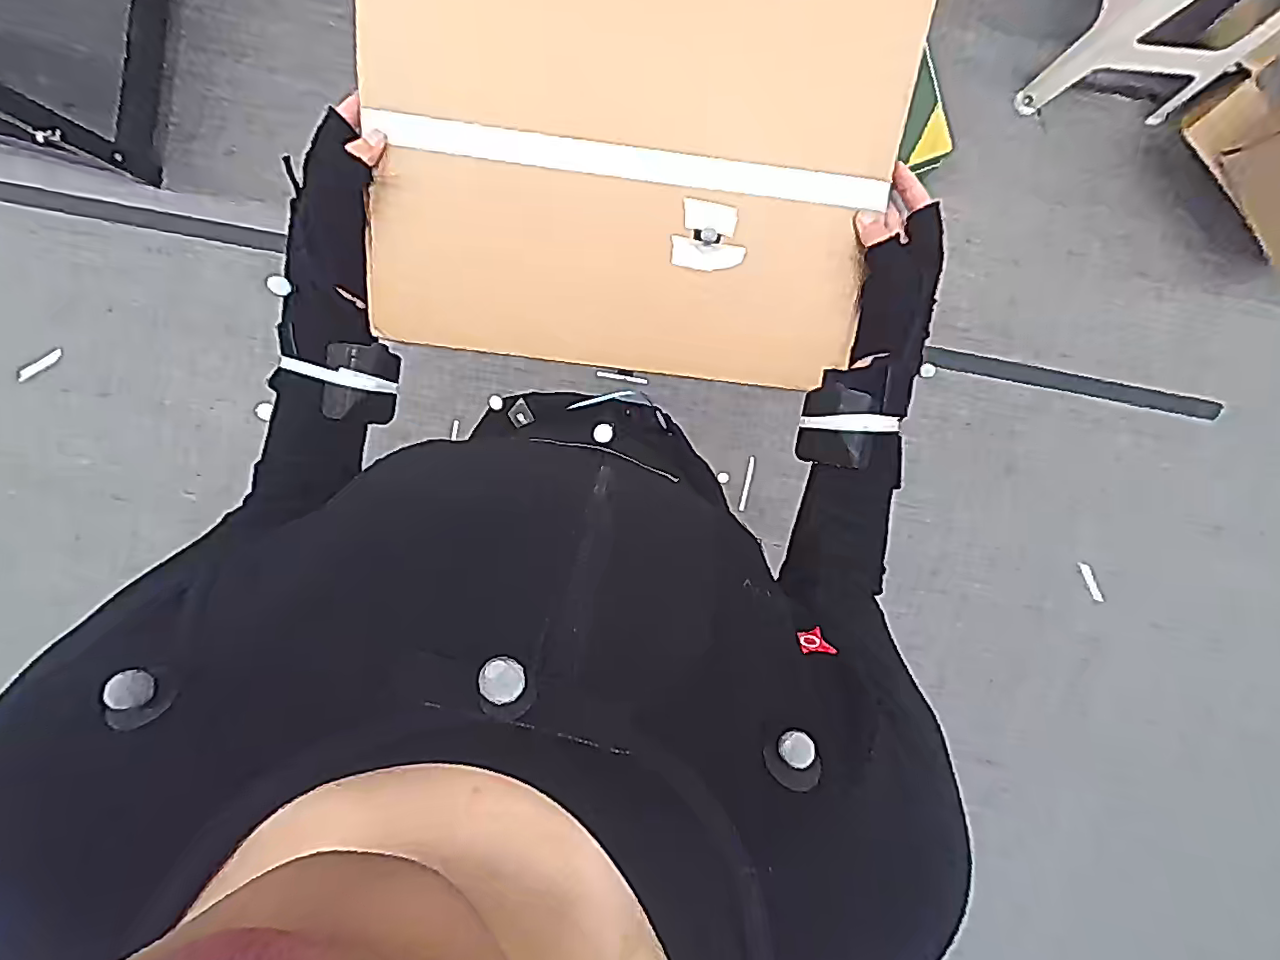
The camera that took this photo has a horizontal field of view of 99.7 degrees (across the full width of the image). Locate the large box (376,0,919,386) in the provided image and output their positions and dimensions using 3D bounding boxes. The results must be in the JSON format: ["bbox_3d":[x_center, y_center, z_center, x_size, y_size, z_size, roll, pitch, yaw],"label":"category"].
[{"bbox_3d":[-0.011,-0.292,0.572,0.408,0.320,0.320,6,109,-4],"label":"large box"}]
